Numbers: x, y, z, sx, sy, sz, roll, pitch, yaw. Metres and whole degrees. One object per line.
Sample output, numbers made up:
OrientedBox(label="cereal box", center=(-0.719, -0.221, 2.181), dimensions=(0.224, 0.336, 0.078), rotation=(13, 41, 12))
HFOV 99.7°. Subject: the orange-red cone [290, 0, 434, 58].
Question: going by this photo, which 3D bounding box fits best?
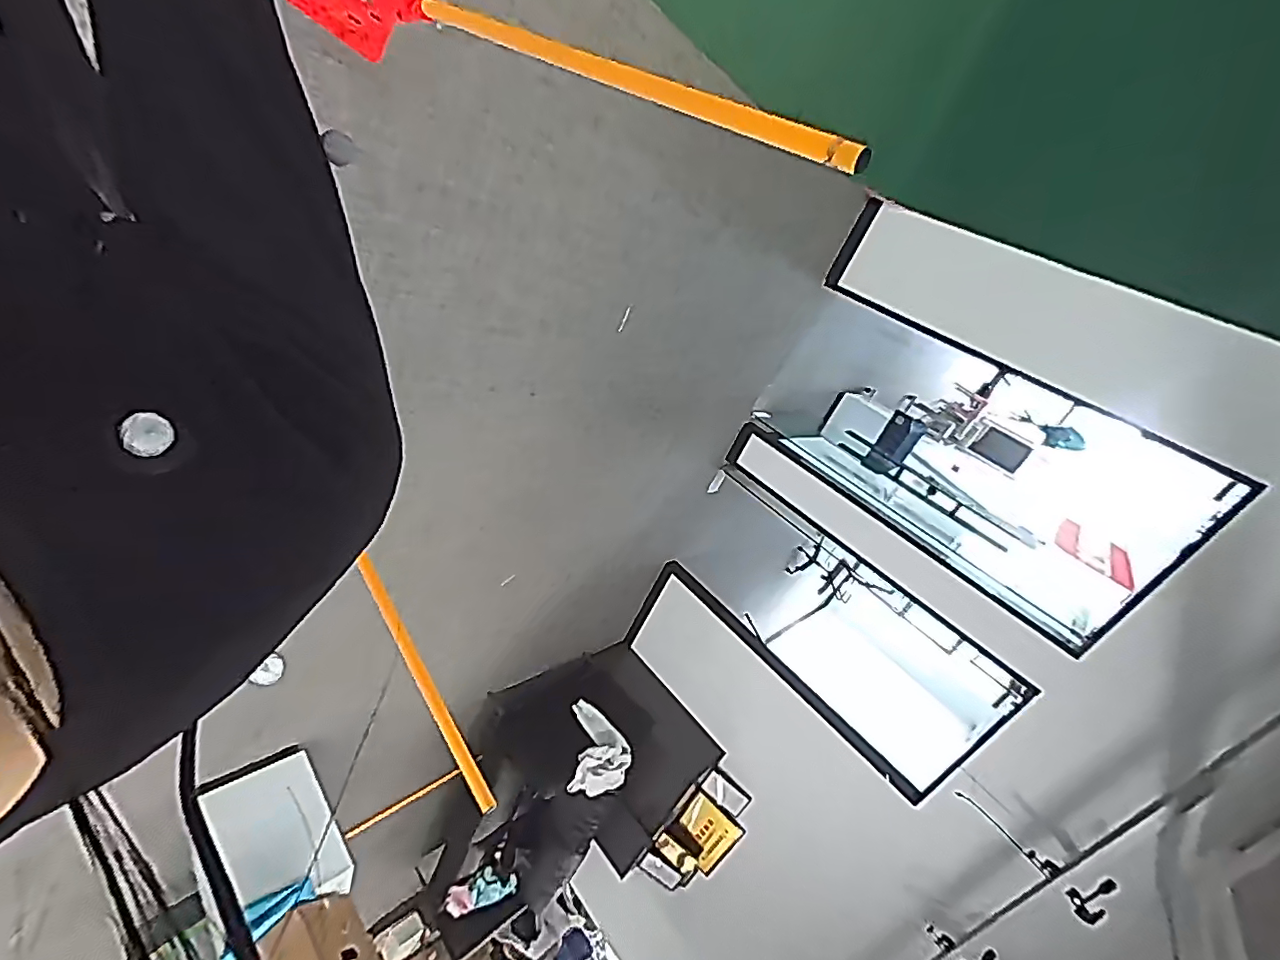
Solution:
OrientedBox(label="orange-red cone", center=(-0.475, -0.899, 0.994), dimensions=(0.198, 0.360, 0.199), rotation=(10, 117, -56))
